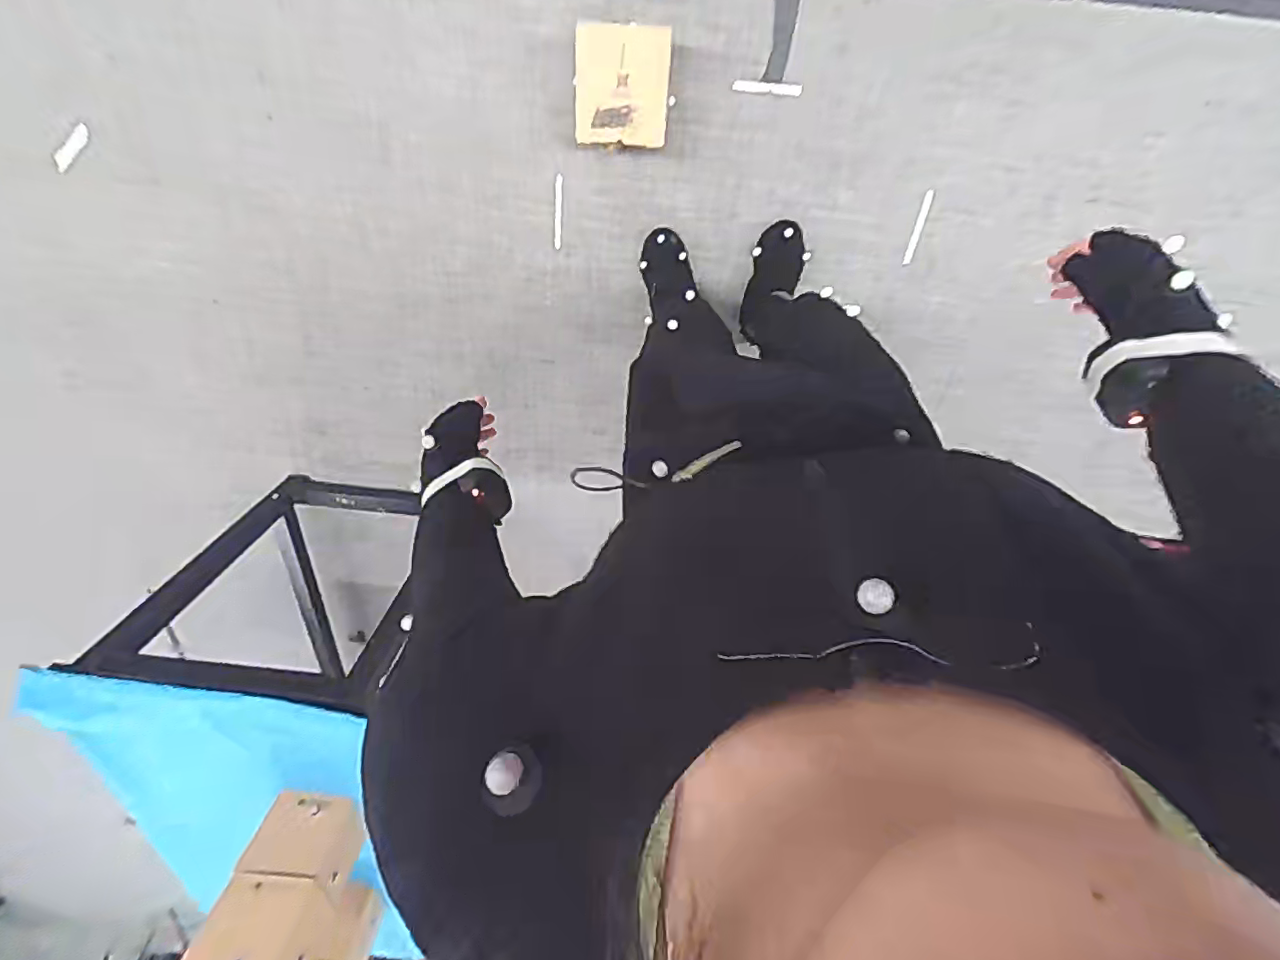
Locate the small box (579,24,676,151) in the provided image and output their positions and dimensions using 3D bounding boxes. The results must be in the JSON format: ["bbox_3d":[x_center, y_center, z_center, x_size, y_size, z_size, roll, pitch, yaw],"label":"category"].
[{"bbox_3d":[-0.021,-0.739,1.032,0.168,0.176,0.179,5,122,1],"label":"small box"}]

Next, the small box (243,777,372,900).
[{"bbox_3d":[-0.724,0.798,1.204,0.168,0.176,0.179,6,122,1],"label":"small box"}]

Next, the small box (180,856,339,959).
[{"bbox_3d":[-0.728,0.878,1.063,0.168,0.176,0.179,3,121,3],"label":"small box"}]

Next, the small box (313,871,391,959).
[{"bbox_3d":[-0.796,1.172,1.445,0.179,0.176,0.168,7,123,-2],"label":"small box"}]
